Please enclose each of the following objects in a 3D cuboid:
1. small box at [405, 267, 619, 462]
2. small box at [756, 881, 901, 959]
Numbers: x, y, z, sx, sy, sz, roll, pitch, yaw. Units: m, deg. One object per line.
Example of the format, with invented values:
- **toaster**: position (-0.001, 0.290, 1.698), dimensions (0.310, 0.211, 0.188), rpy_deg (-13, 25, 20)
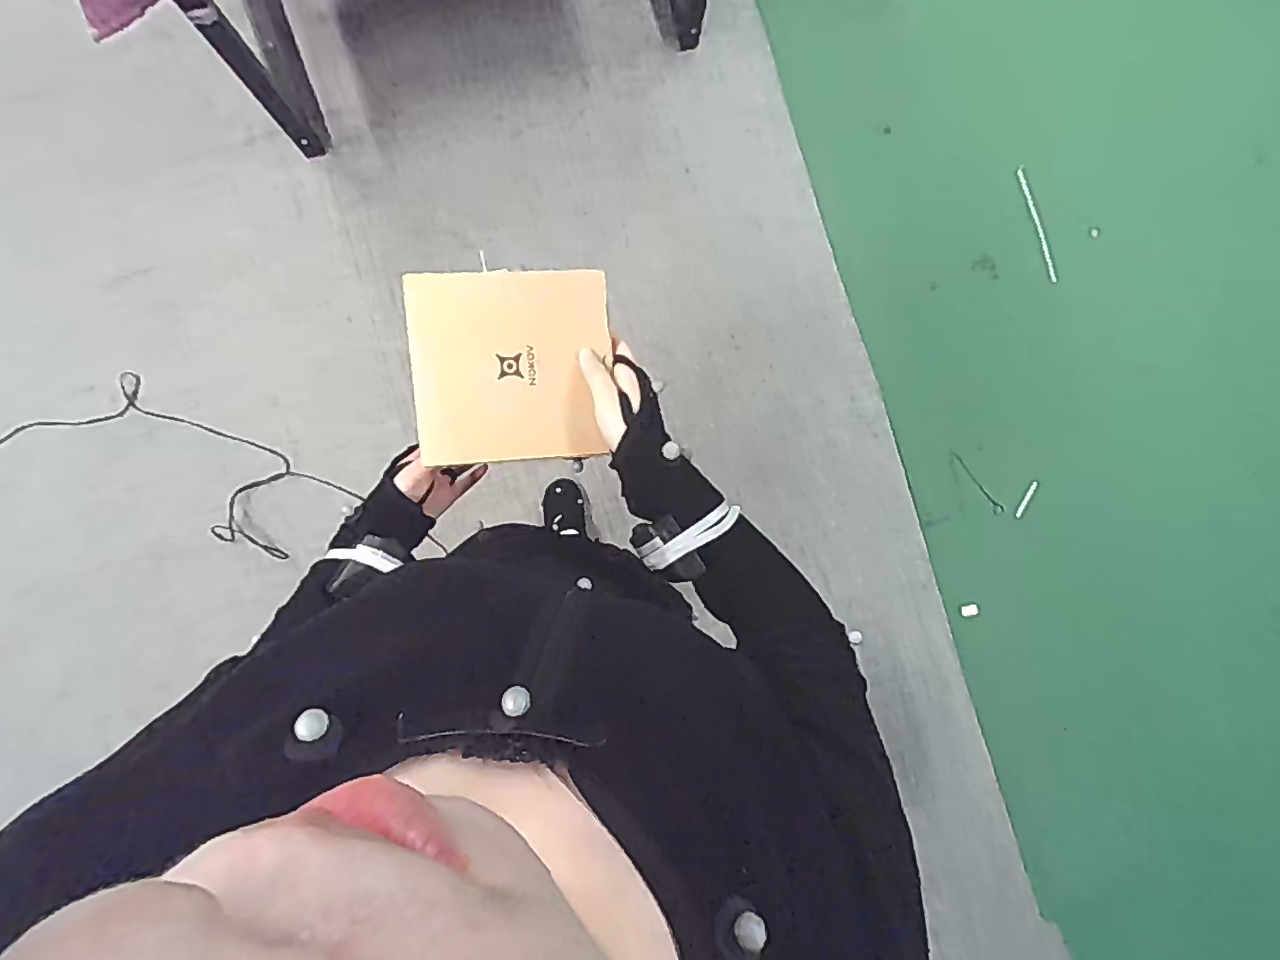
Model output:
- **small box**: position (-0.121, -0.105, 0.551), dimensions (0.179, 0.176, 0.168), rpy_deg (-5, 93, -9)
- **small box**: position (0.286, 0.732, 0.787), dimensions (0.168, 0.176, 0.179), rpy_deg (-18, 89, -4)
